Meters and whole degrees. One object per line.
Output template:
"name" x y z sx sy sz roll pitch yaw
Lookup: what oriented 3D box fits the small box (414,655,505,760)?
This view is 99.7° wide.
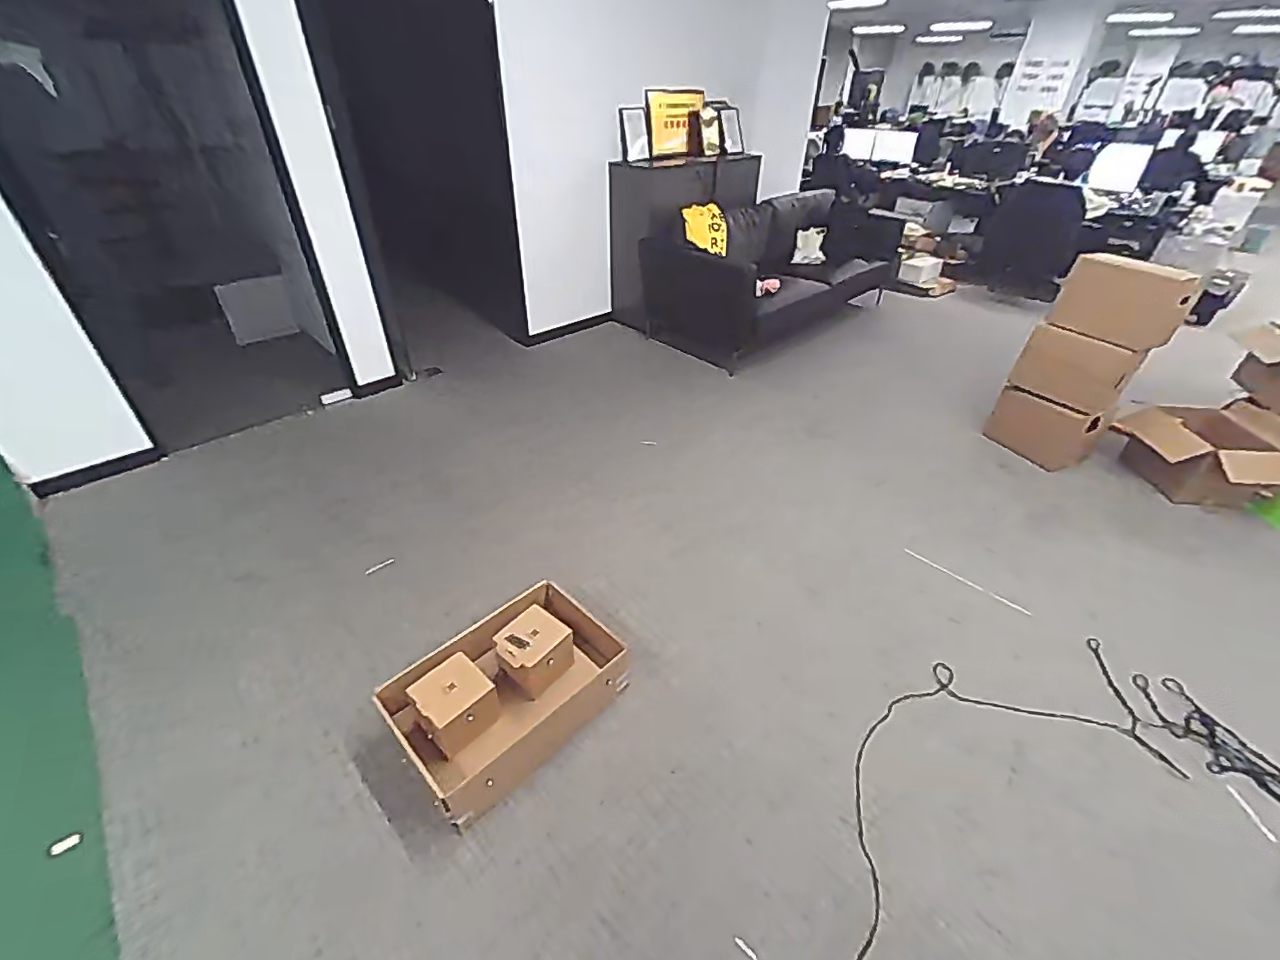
"small box" -0.498 0.640 1.517 0.168 0.176 0.179 29 44 31

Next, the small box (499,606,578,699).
"small box" -0.305 0.533 1.664 0.168 0.176 0.179 26 43 29
